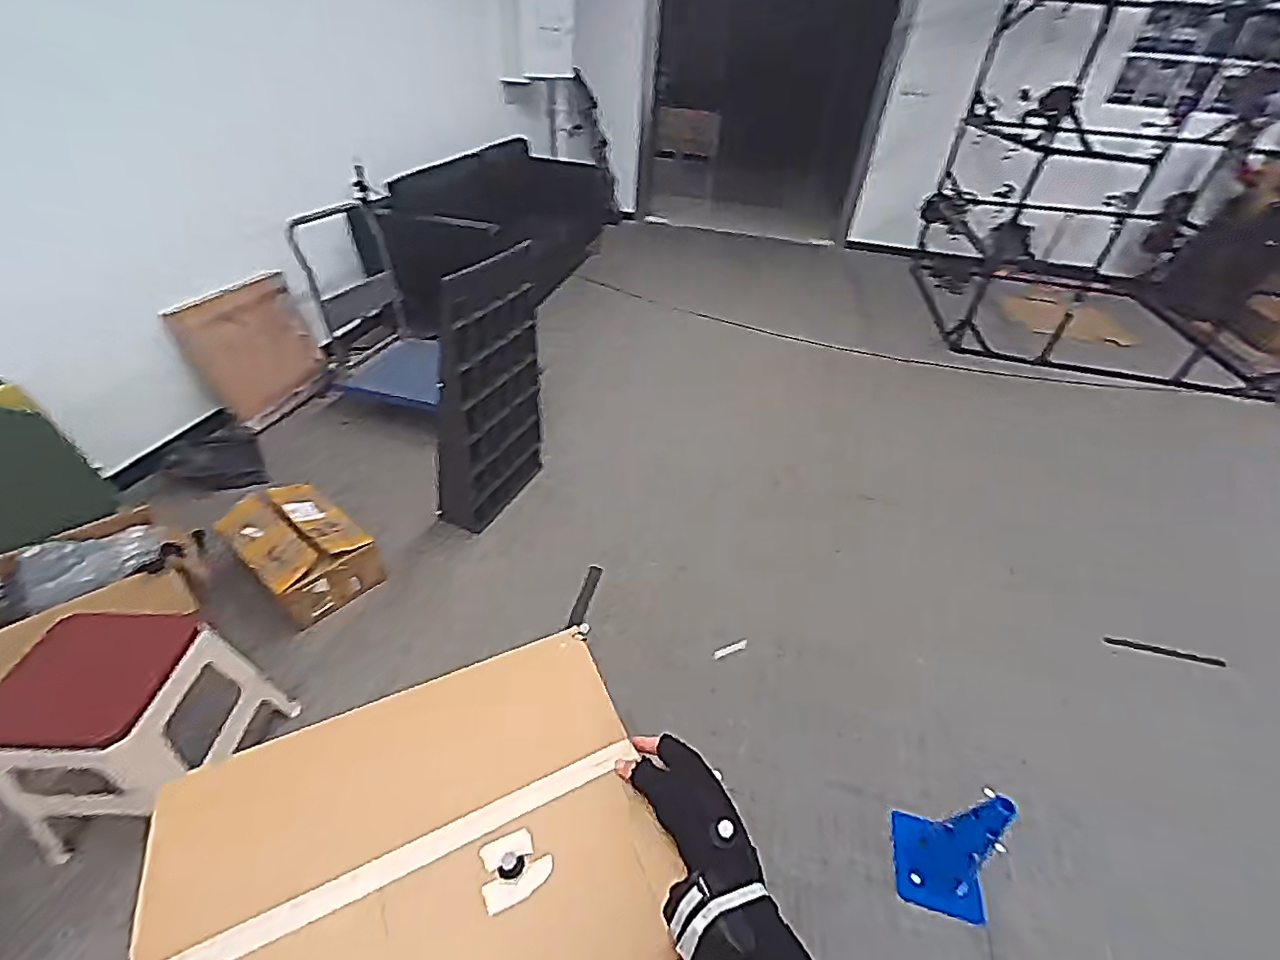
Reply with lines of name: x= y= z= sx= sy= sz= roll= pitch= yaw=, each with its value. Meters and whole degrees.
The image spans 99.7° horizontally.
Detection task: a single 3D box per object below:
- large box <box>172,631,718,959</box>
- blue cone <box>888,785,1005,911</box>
large box: x=-0.184 y=0.433 z=0.570 sx=0.408 sy=0.320 sz=0.320 roll=-14 pitch=45 yaw=-21
blue cone: x=0.733 y=0.811 z=1.241 sx=0.193 sy=0.380 sz=0.192 roll=14 pitch=38 yaw=11
